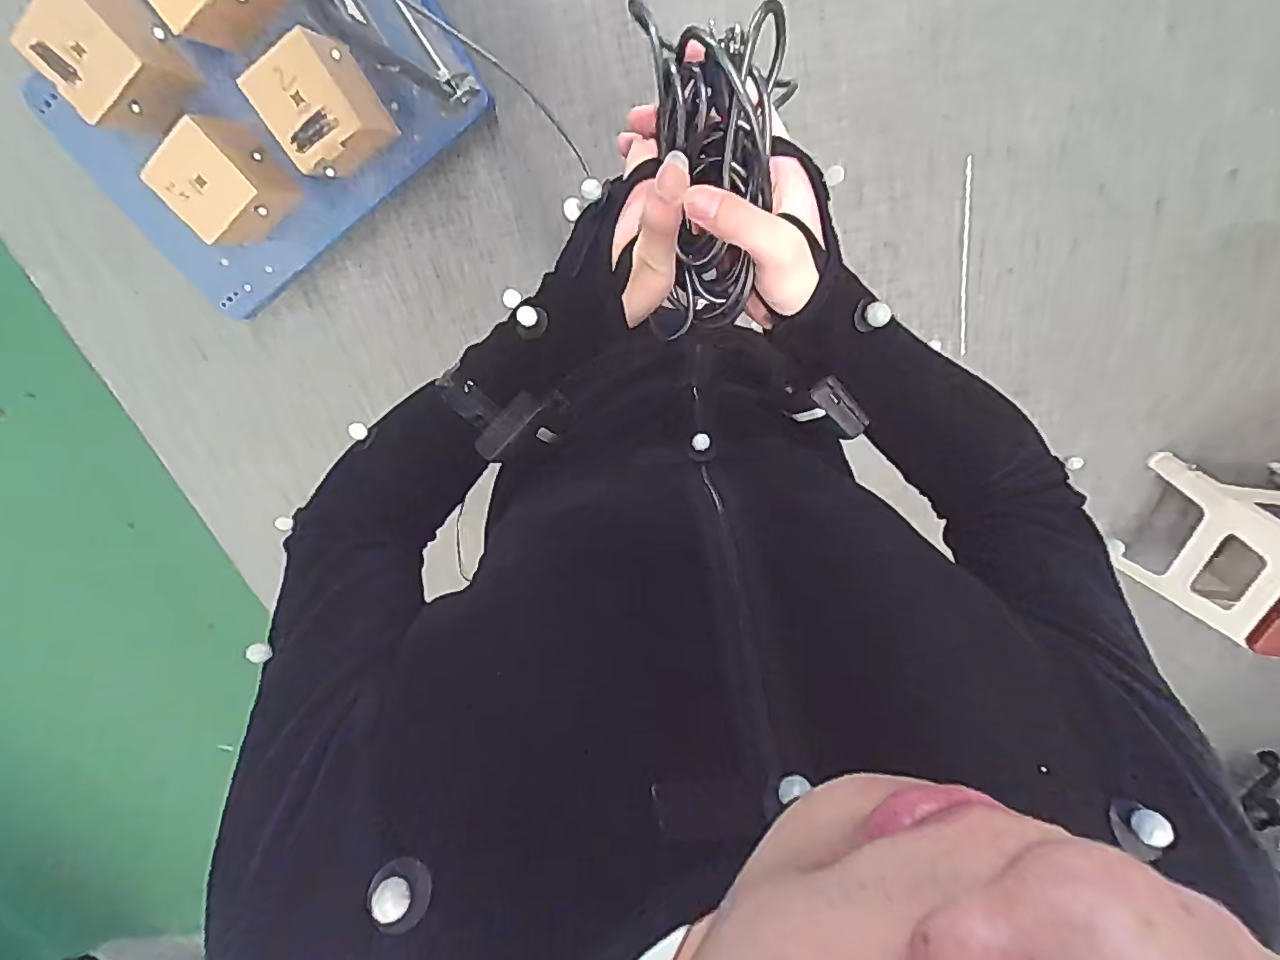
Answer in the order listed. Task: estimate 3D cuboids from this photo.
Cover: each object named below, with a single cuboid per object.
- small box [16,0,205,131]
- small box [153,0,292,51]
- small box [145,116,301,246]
[{"bbox_3d":[-1.015,-0.818,1.055,0.179,0.176,0.168,-31,113,16],"label":"small box"},{"bbox_3d":[-0.788,-0.933,0.985,0.179,0.176,0.168,-28,113,16],"label":"small box"},{"bbox_3d":[-0.868,-0.629,1.148,0.179,0.176,0.168,-32,111,18],"label":"small box"}]
